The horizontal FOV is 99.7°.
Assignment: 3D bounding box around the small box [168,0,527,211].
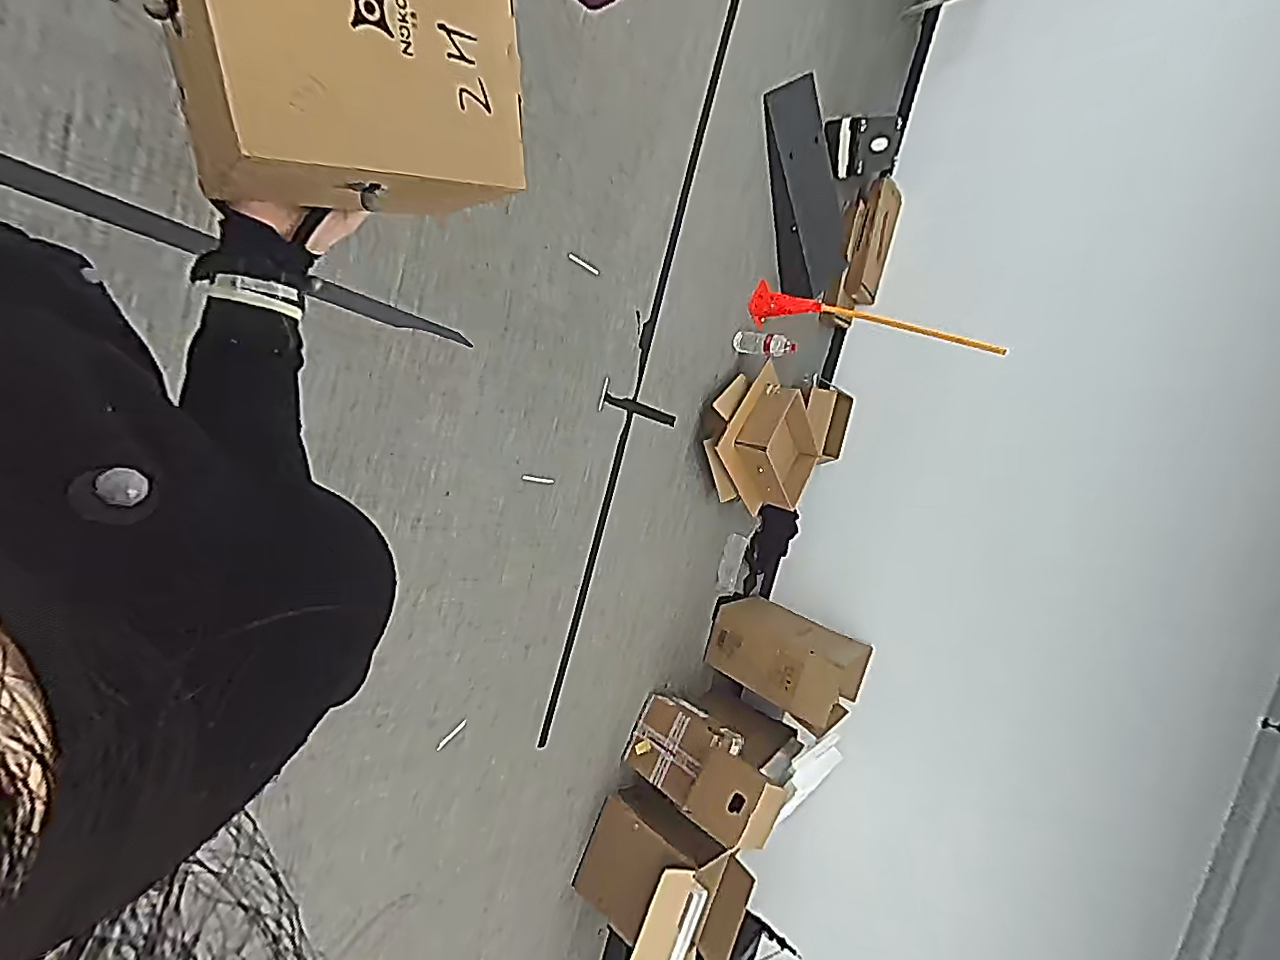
[{"bbox_3d":[-0.201,-0.287,0.371,0.179,0.176,0.168,-18,117,-40],"label":"small box"}]
